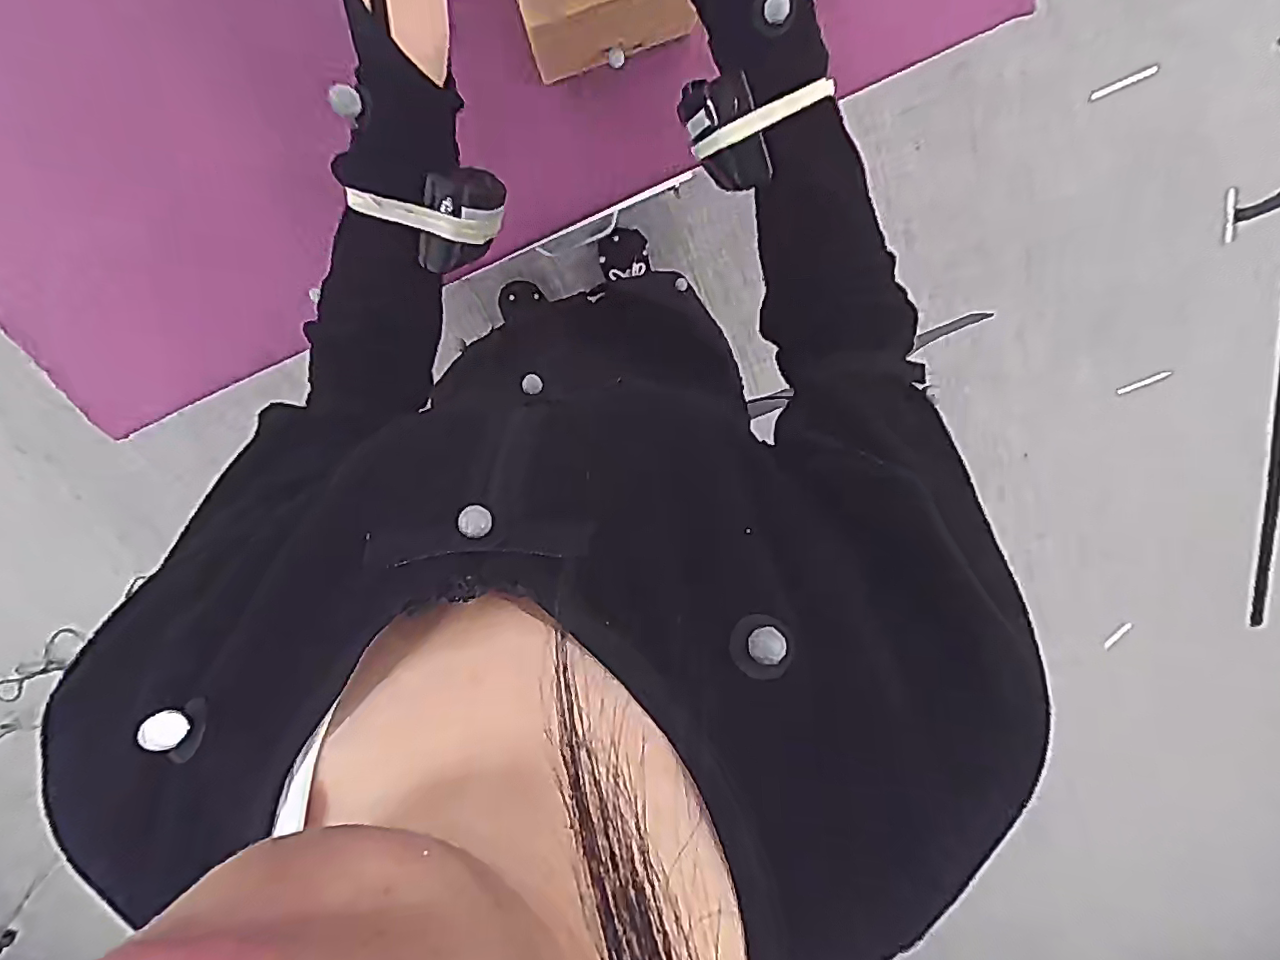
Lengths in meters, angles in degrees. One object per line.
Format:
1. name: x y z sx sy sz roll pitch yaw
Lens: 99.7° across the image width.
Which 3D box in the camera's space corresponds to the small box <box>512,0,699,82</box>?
1. small box: -0.047 -0.488 0.468 0.168 0.176 0.179 -17 115 3
